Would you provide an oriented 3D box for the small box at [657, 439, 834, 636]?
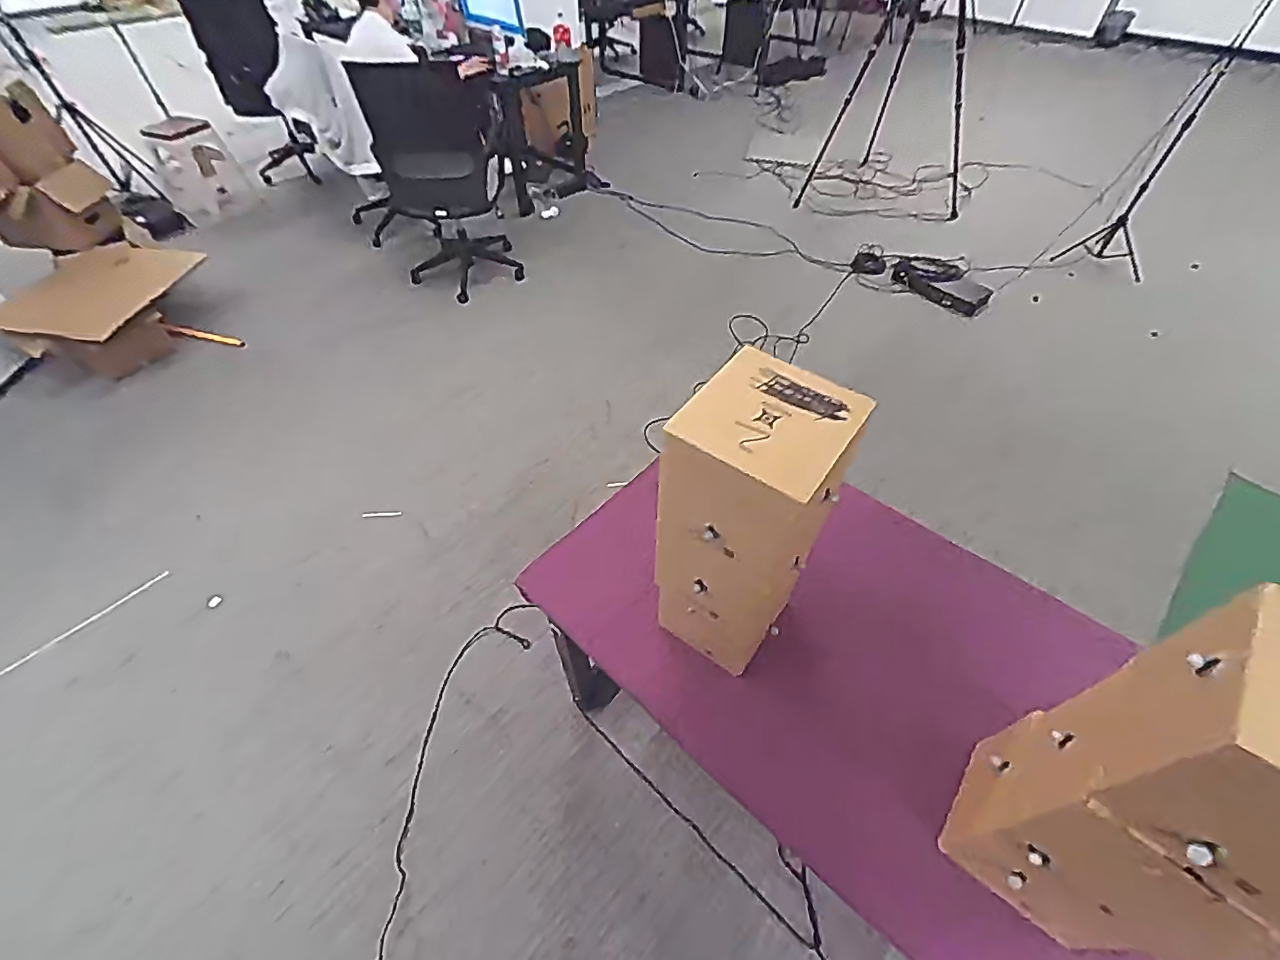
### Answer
[{"bbox_3d":[0.138,0.082,0.750,0.168,0.176,0.179,32,57,22],"label":"small box"}]

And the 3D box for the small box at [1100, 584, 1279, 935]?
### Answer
[{"bbox_3d":[0.518,0.223,0.425,0.168,0.176,0.179,36,58,27],"label":"small box"}]

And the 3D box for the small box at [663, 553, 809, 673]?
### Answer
[{"bbox_3d":[0.147,0.177,0.886,0.168,0.176,0.179,30,56,23],"label":"small box"}]

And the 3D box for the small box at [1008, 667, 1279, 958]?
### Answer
[{"bbox_3d":[0.513,0.334,0.545,0.168,0.176,0.179,35,56,26],"label":"small box"}]

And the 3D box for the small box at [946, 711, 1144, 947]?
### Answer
[{"bbox_3d":[0.516,0.436,0.674,0.168,0.176,0.179,33,56,25],"label":"small box"}]
